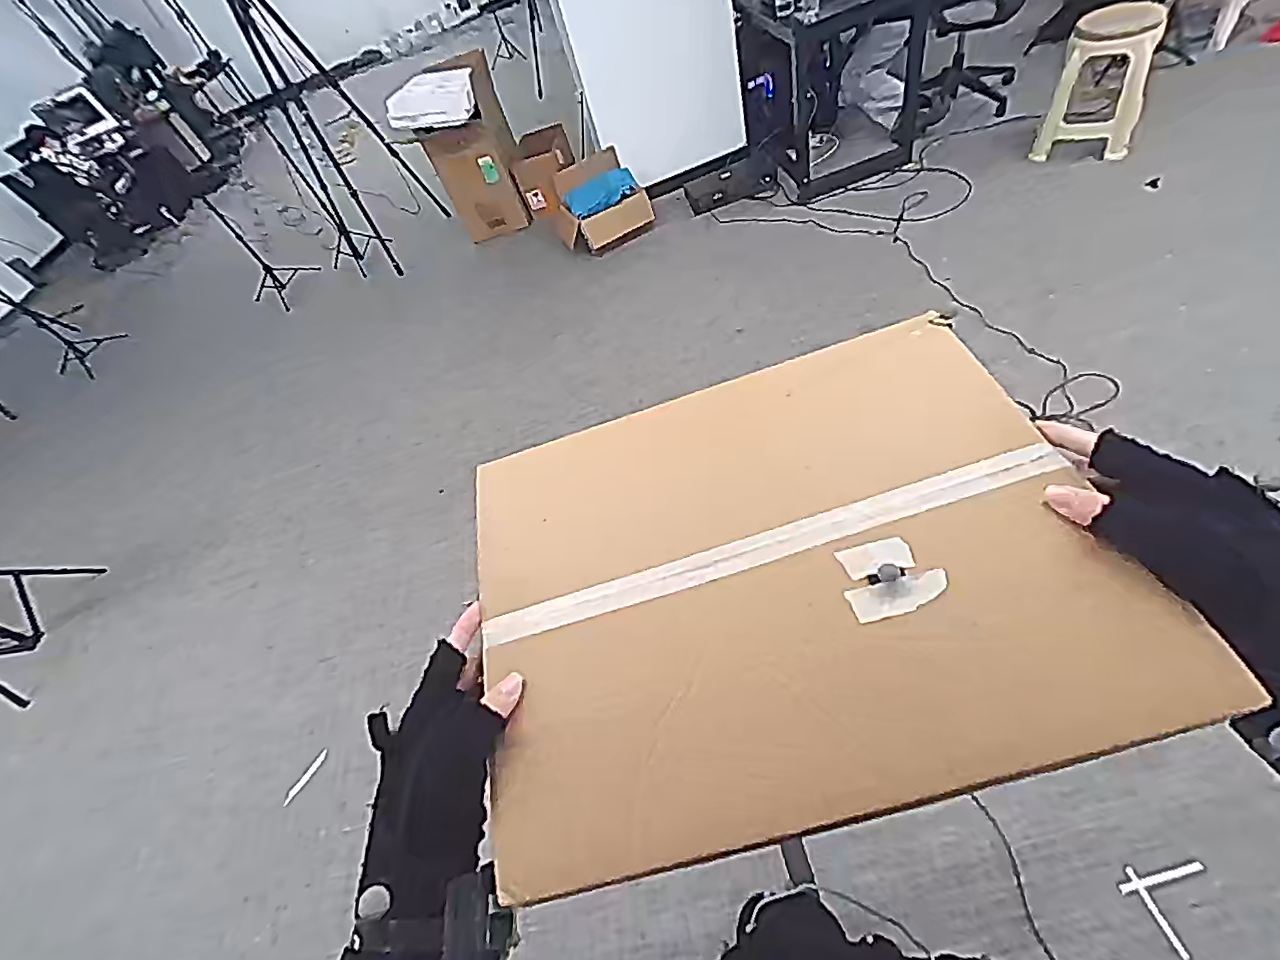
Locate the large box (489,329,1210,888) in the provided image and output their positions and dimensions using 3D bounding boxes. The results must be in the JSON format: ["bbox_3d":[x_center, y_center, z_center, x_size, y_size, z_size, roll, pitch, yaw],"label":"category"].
[{"bbox_3d":[0.118,0.133,0.503,0.408,0.320,0.320,-18,55,4],"label":"large box"}]
